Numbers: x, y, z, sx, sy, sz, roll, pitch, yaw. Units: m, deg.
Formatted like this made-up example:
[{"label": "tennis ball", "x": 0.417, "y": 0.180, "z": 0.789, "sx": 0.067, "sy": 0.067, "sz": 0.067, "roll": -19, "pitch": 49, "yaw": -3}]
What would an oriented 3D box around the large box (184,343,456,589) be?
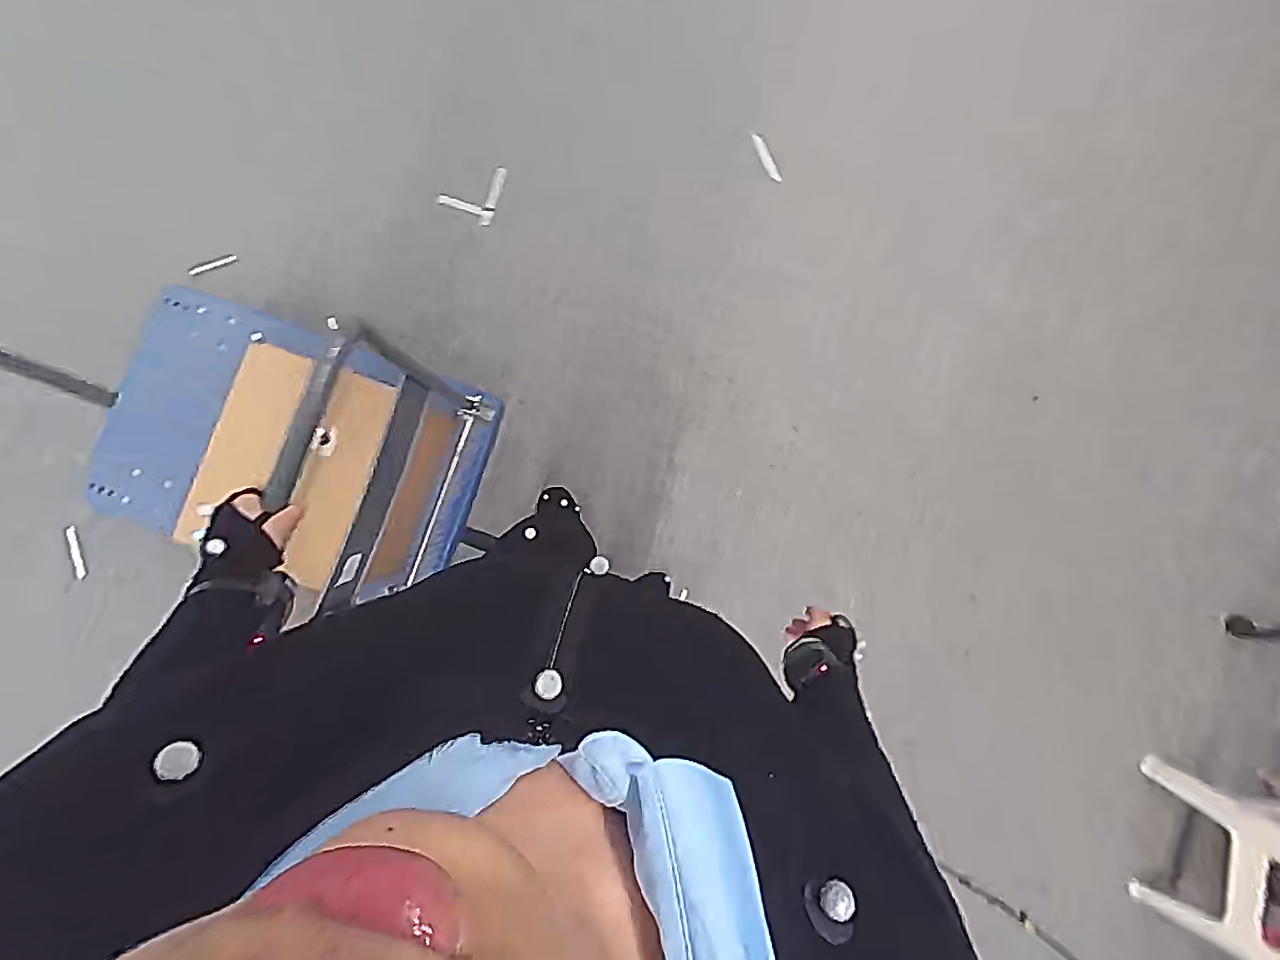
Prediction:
[{"label": "large box", "x": -0.652, "y": -0.018, "z": 1.170, "sx": 0.320, "sy": 0.320, "sz": 0.408, "roll": 20, "pitch": 86, "yaw": -1}]
